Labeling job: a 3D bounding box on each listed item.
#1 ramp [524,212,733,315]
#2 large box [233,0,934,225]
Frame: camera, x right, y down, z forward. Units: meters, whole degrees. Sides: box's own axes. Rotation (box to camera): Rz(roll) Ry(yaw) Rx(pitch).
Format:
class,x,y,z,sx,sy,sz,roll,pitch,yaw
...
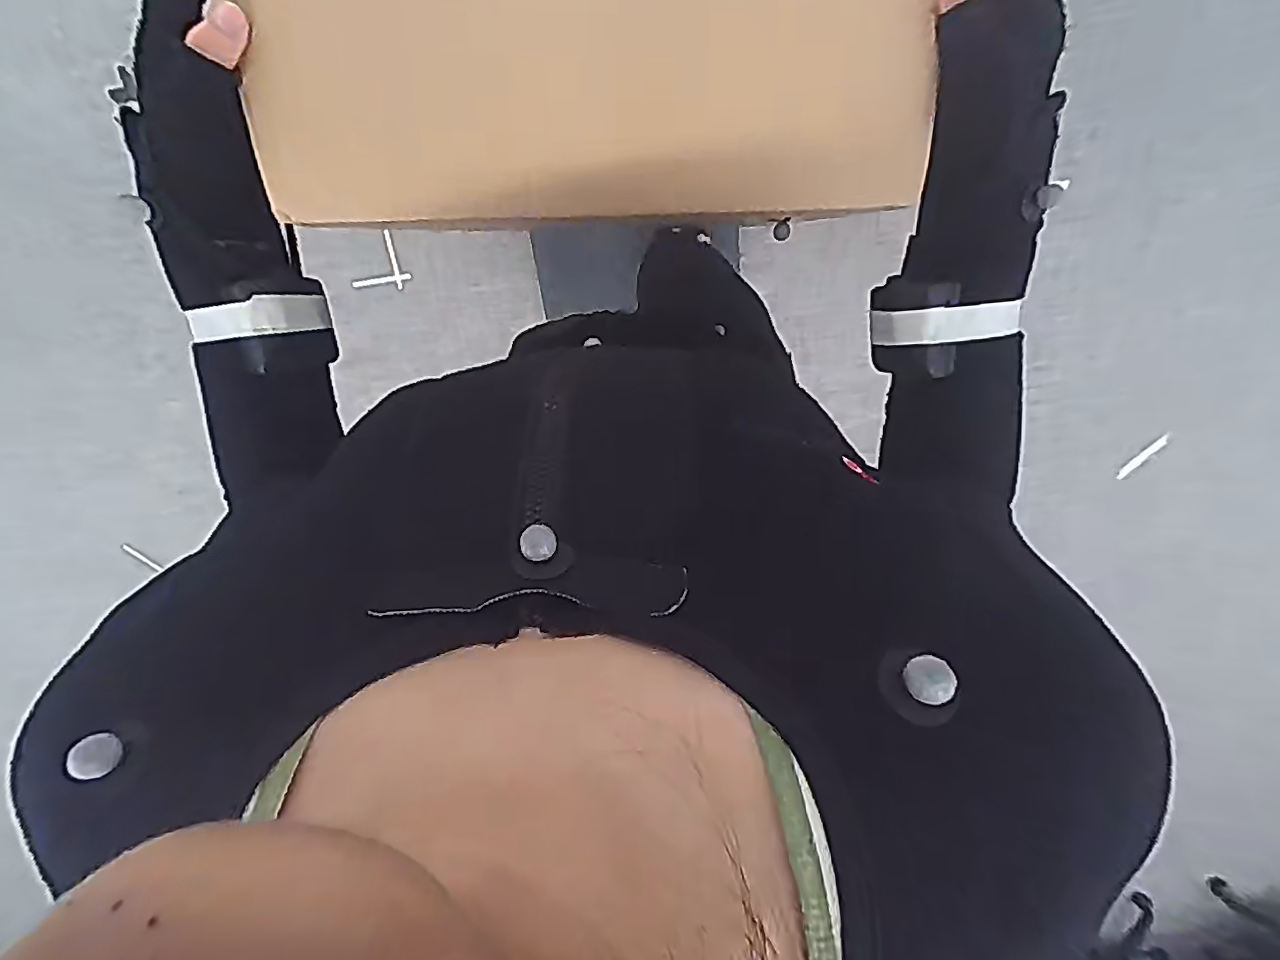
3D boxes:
class,x,y,z,sx,sy,sz,roll,pitch,yaw
ramp,-0.061,-0.865,1.106,0.509,0.206,0.991,-7,112,3
large box,-0.030,-0.377,0.422,0.408,0.320,0.320,-1,113,1
